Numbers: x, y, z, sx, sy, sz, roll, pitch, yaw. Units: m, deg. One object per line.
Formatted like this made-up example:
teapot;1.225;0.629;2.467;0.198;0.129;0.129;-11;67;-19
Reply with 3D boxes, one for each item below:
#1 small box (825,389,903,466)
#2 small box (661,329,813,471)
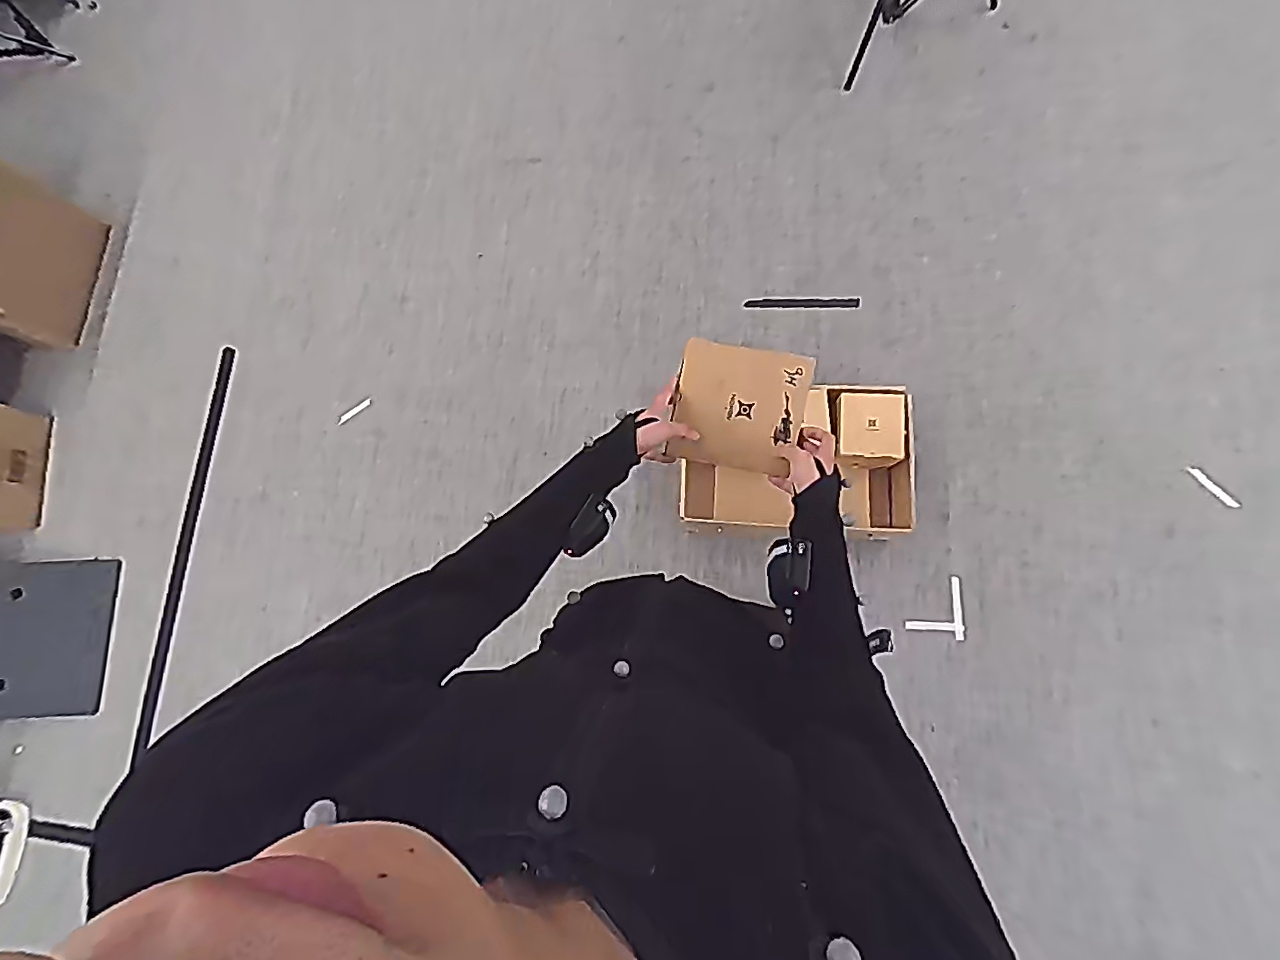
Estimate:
small box;0.622;-0.143;1.518;0.168;0.176;0.179;3;83;8
small box;0.137;-0.120;0.805;0.179;0.176;0.168;11;102;4
